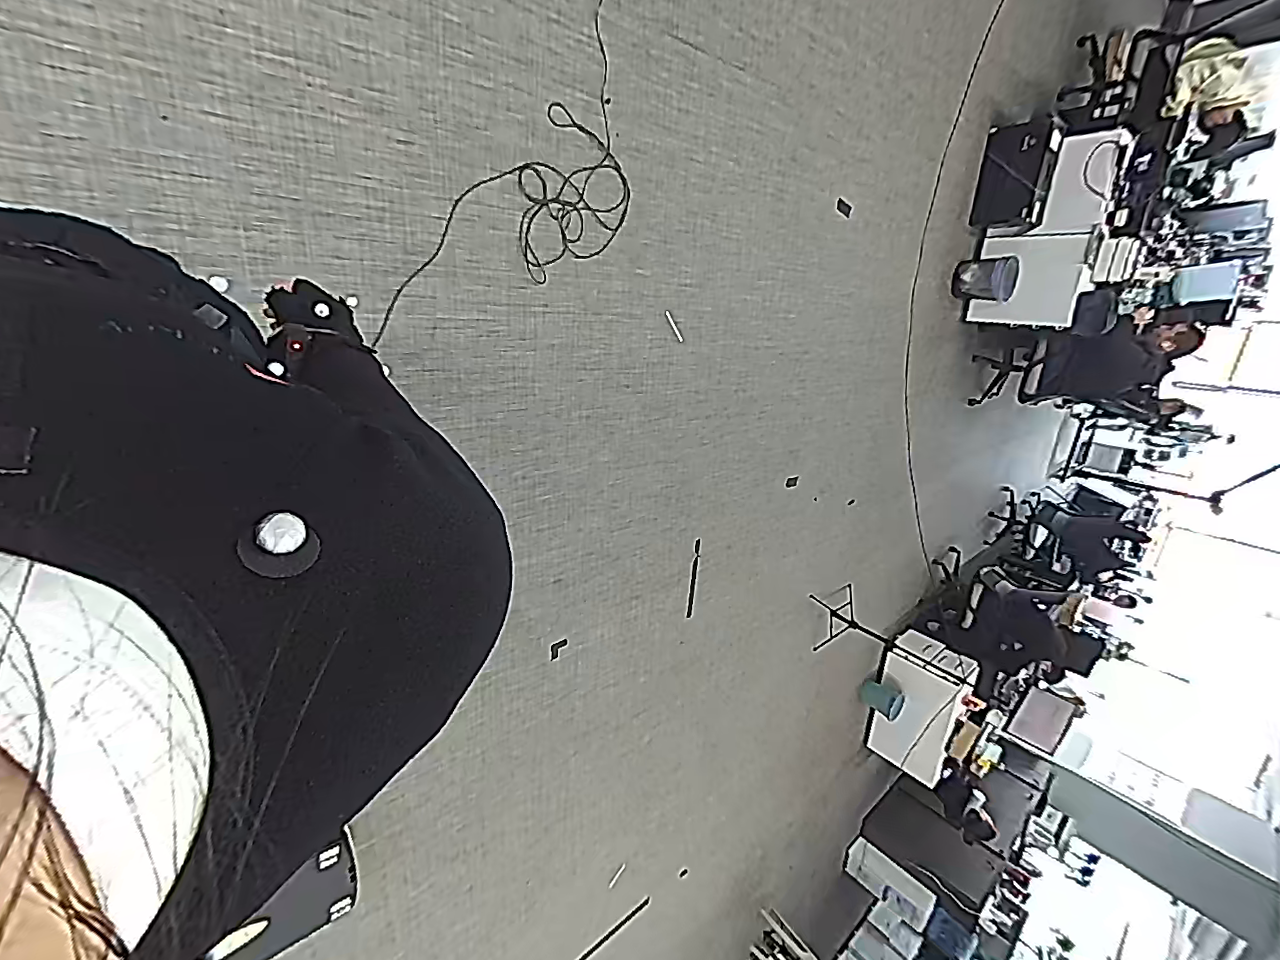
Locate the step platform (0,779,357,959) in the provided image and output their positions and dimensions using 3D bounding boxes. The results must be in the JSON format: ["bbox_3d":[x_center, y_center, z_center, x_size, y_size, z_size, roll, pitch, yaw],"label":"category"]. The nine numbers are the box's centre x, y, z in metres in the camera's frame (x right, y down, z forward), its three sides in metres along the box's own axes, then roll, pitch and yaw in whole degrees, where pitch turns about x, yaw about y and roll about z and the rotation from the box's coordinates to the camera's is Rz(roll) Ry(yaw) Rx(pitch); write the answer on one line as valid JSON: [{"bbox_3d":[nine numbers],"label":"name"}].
[{"bbox_3d":[-1.094,1.074,1.351,0.684,0.204,0.286,-14,115,-38],"label":"step platform"}]
